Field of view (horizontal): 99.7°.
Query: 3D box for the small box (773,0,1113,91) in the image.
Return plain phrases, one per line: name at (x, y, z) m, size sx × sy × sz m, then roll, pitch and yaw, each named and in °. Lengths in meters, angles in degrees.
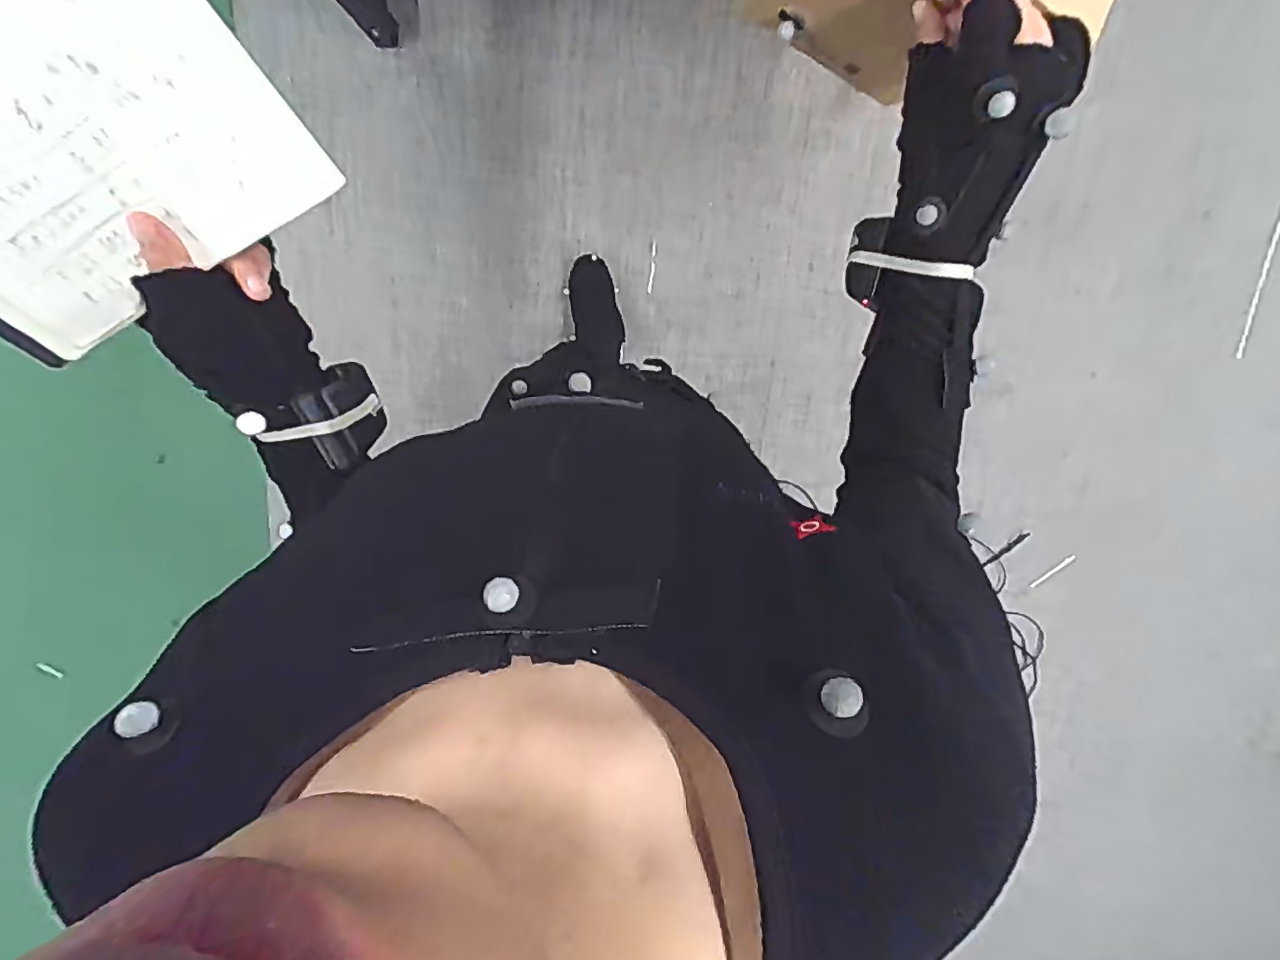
small box at (0.200, -0.388, 0.339) m, size 0.168 × 0.176 × 0.179 m, roll 10°, pitch 107°, yaw -26°
